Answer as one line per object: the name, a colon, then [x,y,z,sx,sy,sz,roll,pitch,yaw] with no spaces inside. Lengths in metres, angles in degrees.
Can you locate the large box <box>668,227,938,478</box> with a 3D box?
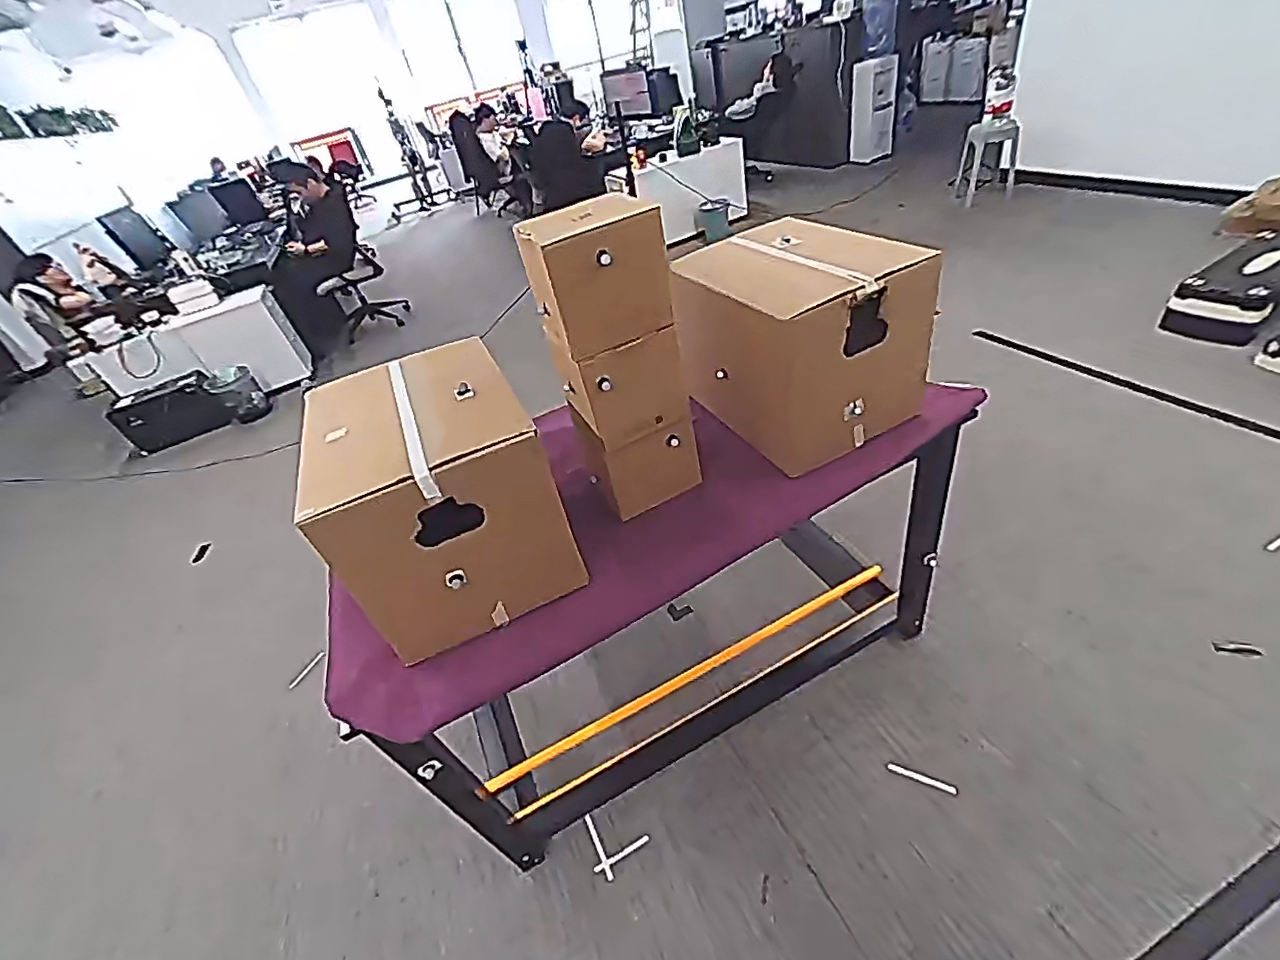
large box: [0.298,-0.268,1.069,0.320,0.320,0.408,-25,38,-13]

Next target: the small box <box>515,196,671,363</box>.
small box: [-0.064,-0.303,0.814,0.179,0.176,0.168,-25,39,-11]

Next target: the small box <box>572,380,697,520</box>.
small box: [-0.004,-0.057,1.022,0.179,0.176,0.168,-26,39,-13]
